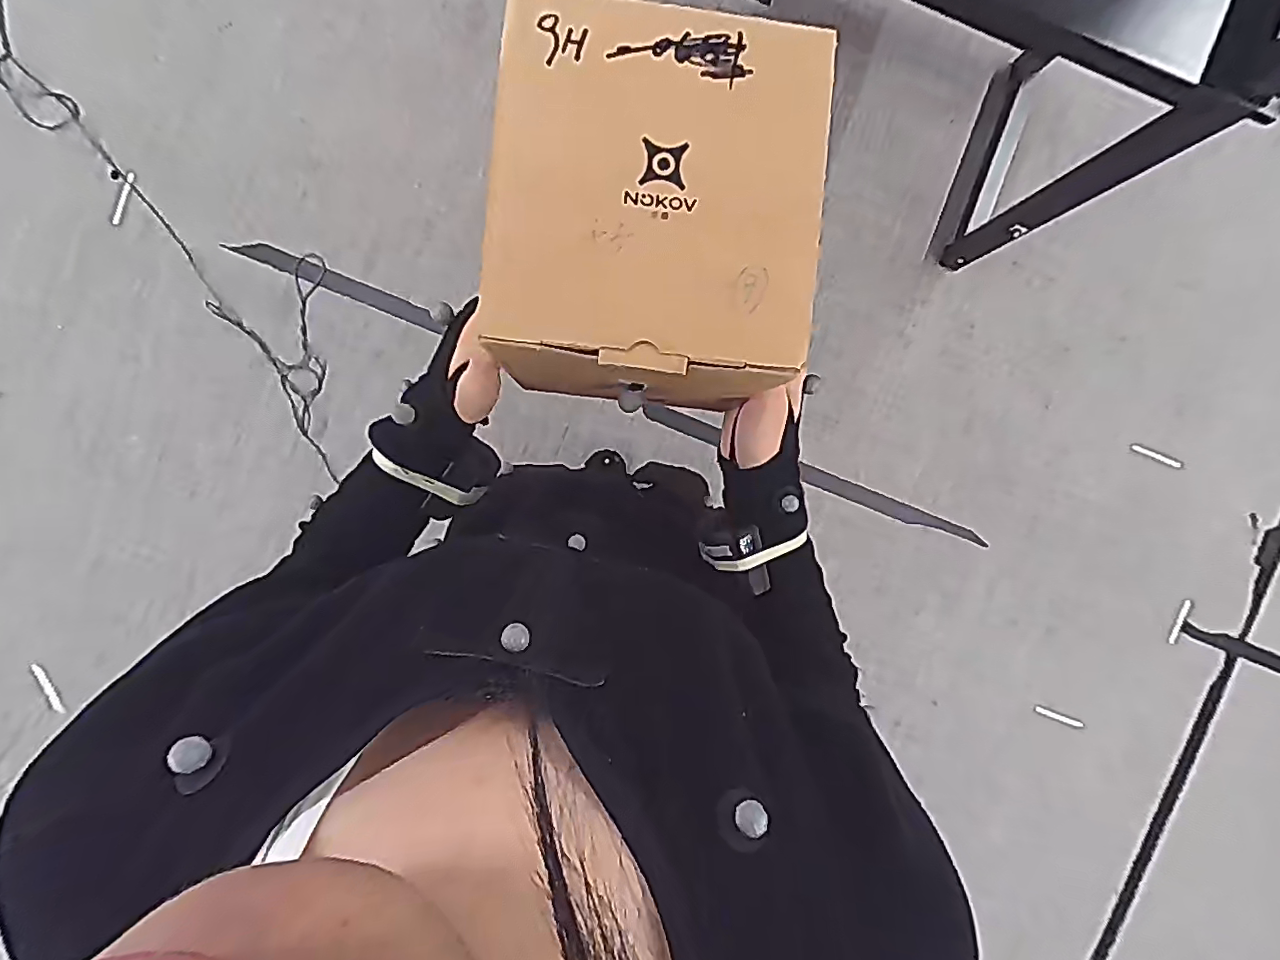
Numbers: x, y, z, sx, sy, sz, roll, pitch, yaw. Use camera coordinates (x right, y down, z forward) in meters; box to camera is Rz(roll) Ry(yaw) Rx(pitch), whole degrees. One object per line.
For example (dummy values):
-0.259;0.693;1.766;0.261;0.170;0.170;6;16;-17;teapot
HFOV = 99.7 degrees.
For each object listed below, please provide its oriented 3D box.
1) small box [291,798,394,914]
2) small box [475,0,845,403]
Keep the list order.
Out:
-0.774;0.982;1.428;0.168;0.176;0.179;15;93;-3;small box
0.005;-0.148;0.340;0.168;0.176;0.179;6;91;-5;small box
